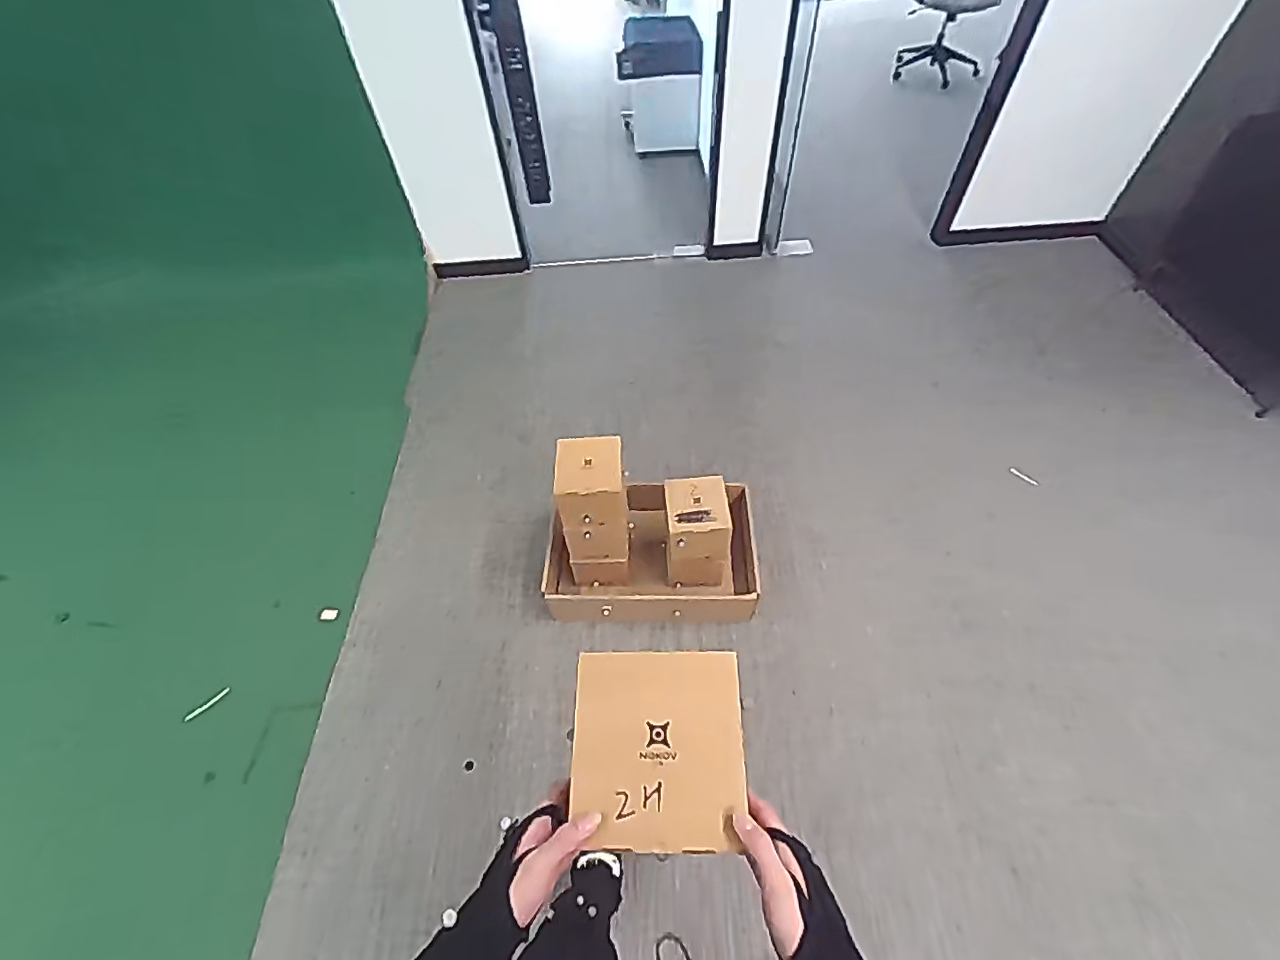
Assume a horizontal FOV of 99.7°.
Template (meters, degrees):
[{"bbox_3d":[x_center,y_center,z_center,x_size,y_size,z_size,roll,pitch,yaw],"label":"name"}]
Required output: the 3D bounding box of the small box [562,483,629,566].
[{"bbox_3d":[-0.120,0.124,1.524,0.168,0.176,0.179,-2,51,2],"label":"small box"}]

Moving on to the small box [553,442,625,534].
[{"bbox_3d":[-0.126,0.022,1.397,0.168,0.176,0.179,-3,52,1],"label":"small box"}]

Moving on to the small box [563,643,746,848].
[{"bbox_3d":[0.021,0.285,0.586,0.168,0.176,0.179,-2,60,6],"label":"small box"}]
